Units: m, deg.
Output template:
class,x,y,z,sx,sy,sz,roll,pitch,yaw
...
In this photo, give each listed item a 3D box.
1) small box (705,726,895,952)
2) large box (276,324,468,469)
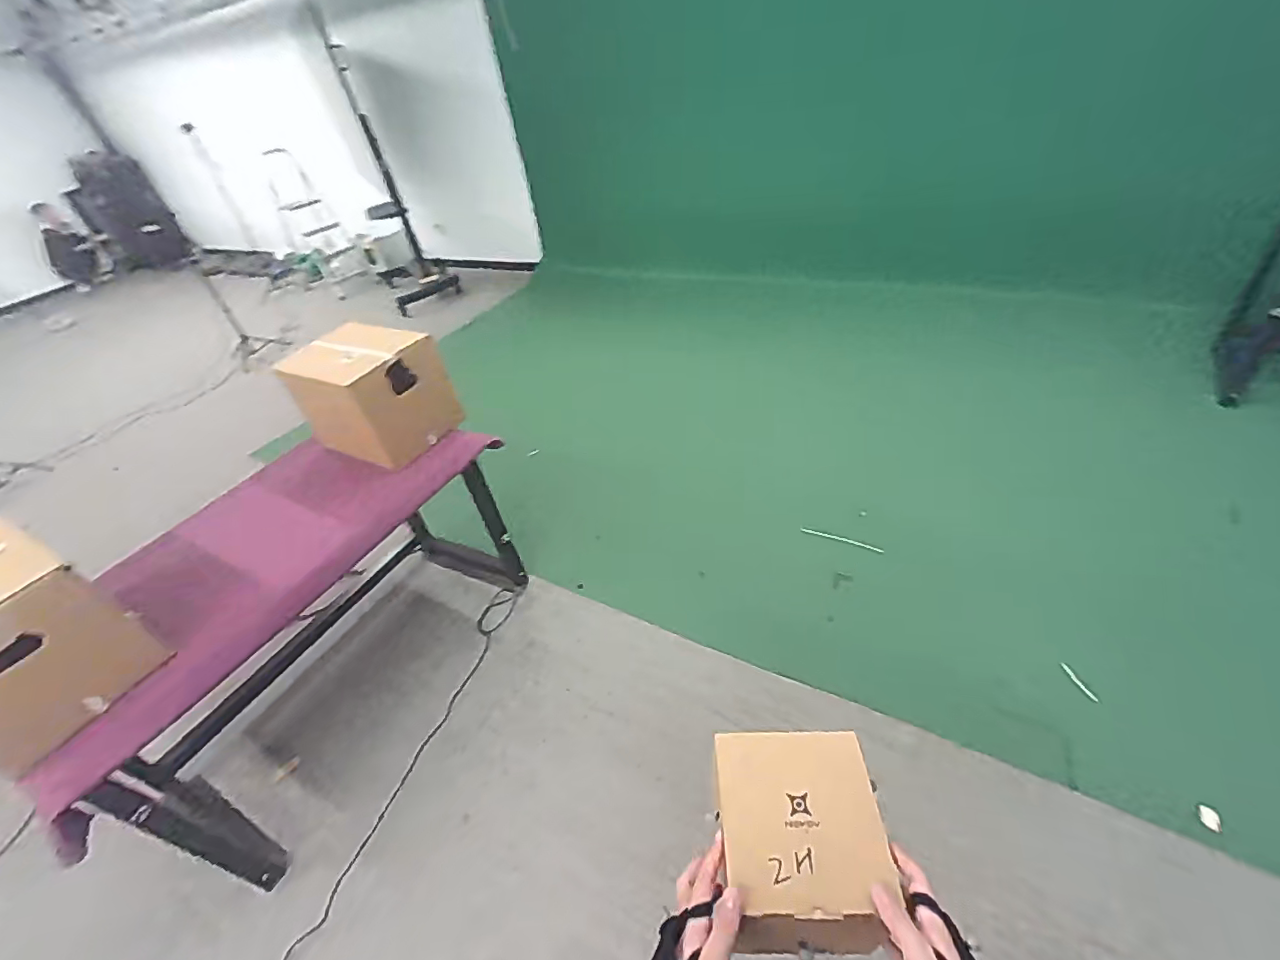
class,x,y,z,sx,sy,sz,roll,pitch,yaw
small box,0.162,0.407,0.619,0.168,0.176,0.179,-3,40,3
large box,-0.842,-0.277,1.735,0.408,0.320,0.320,16,48,28
